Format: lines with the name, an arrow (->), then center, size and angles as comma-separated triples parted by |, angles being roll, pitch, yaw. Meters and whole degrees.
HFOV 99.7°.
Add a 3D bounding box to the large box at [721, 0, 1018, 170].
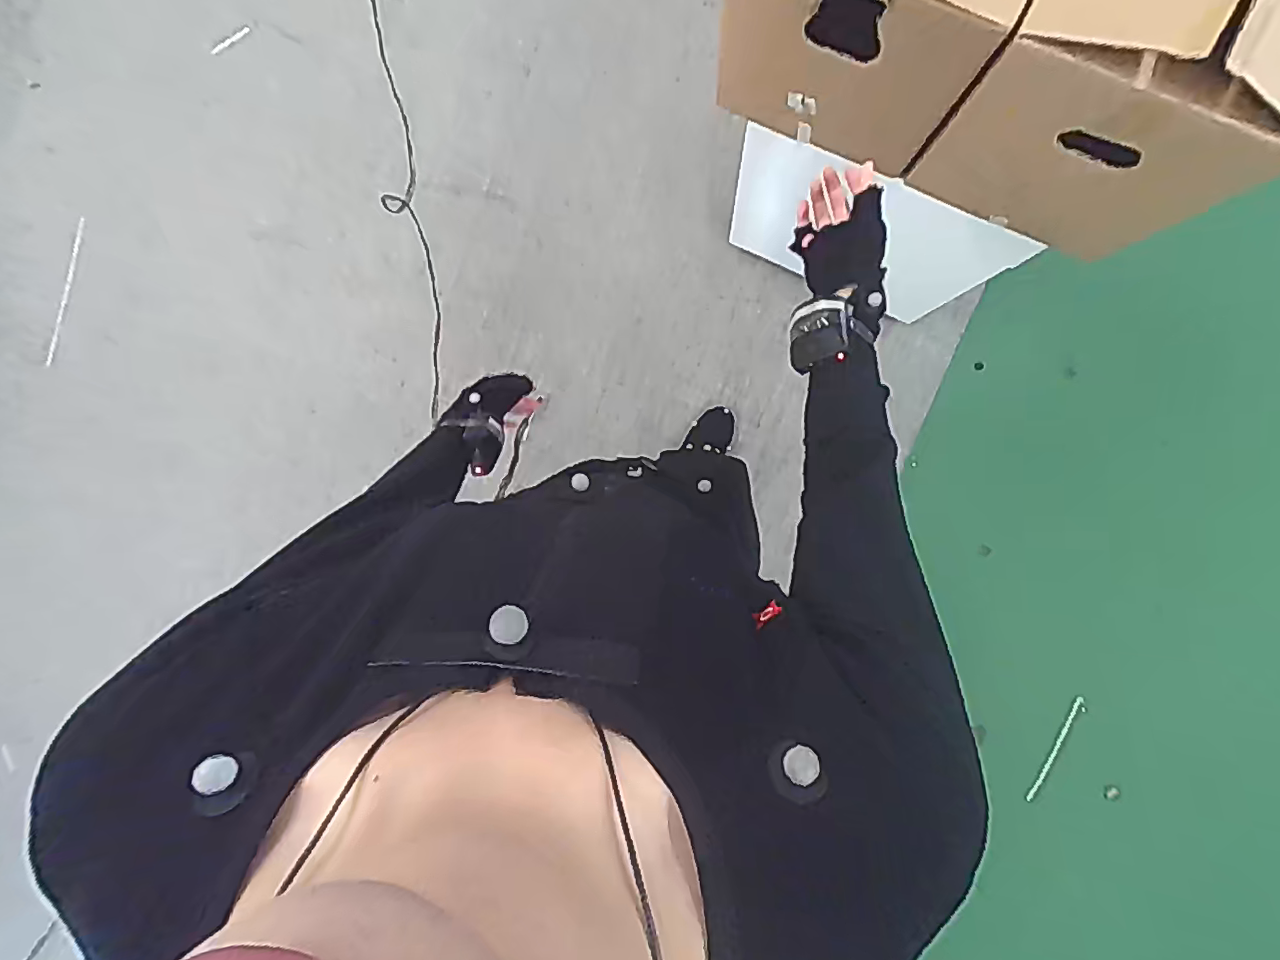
large box -> 0.320, -0.700, 0.673 | 0.320, 0.320, 0.408 | 25, 95, 4
